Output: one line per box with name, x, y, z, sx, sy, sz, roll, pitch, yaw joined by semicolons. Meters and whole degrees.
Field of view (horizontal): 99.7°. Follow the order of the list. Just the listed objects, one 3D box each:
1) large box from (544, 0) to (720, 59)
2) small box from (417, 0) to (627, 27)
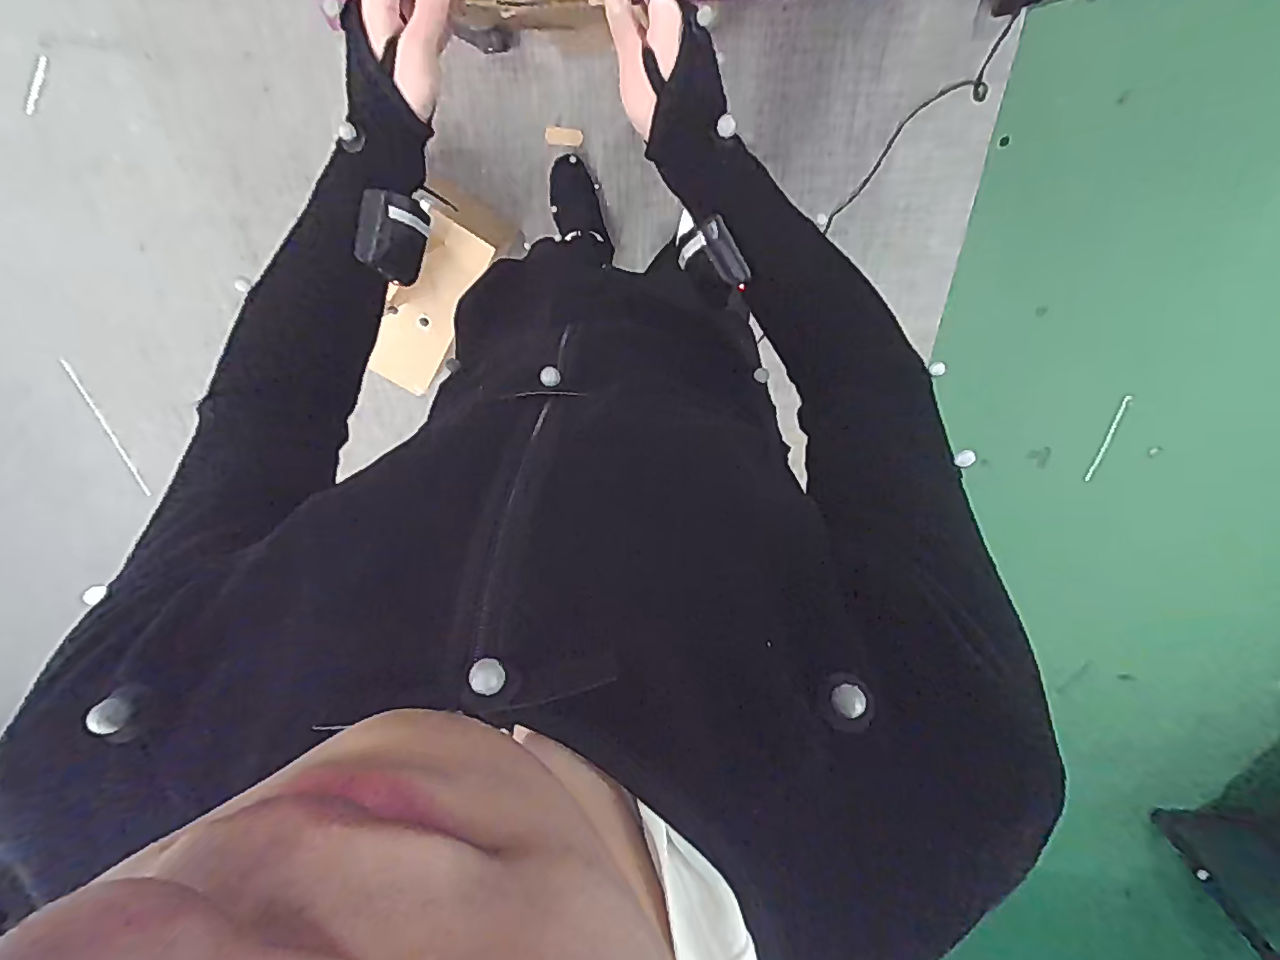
large box;-0.027;-1.037;0.971;0.320;0.320;0.408;-3;121;0
small box;-0.094;-0.482;0.429;0.168;0.176;0.179;0;123;0
